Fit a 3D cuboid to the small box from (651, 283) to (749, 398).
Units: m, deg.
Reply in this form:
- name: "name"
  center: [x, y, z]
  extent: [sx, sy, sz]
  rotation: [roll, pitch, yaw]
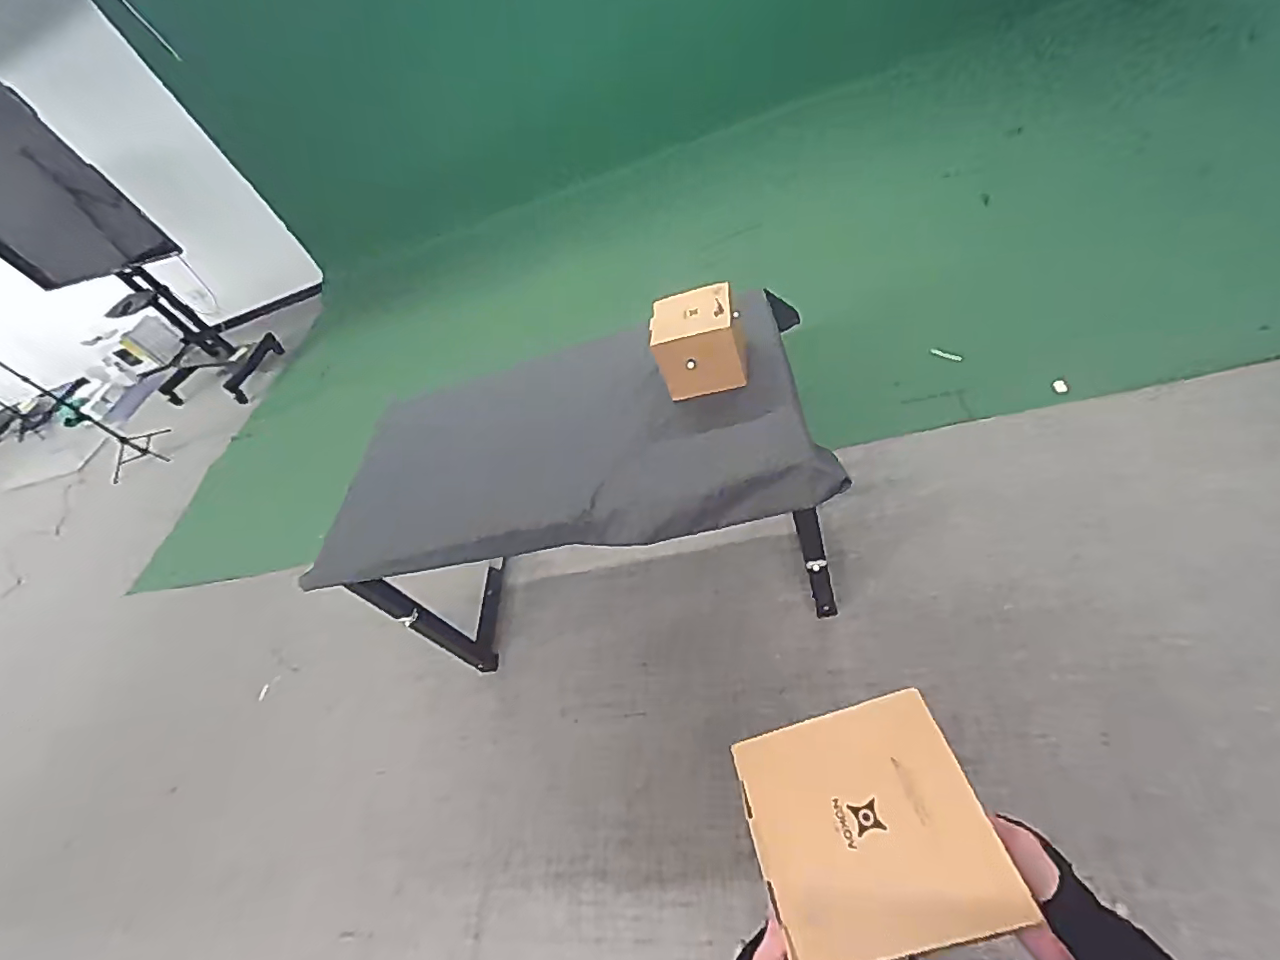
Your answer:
- name: "small box"
  center: [0.139, -0.306, 1.222]
  extent: [0.179, 0.176, 0.168]
  rotation: [-10, 50, 19]

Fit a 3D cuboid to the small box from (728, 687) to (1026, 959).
- name: "small box"
  center: [0.202, 0.319, 0.489]
  extent: [0.179, 0.176, 0.168]
  rotation: [-22, 45, 8]
